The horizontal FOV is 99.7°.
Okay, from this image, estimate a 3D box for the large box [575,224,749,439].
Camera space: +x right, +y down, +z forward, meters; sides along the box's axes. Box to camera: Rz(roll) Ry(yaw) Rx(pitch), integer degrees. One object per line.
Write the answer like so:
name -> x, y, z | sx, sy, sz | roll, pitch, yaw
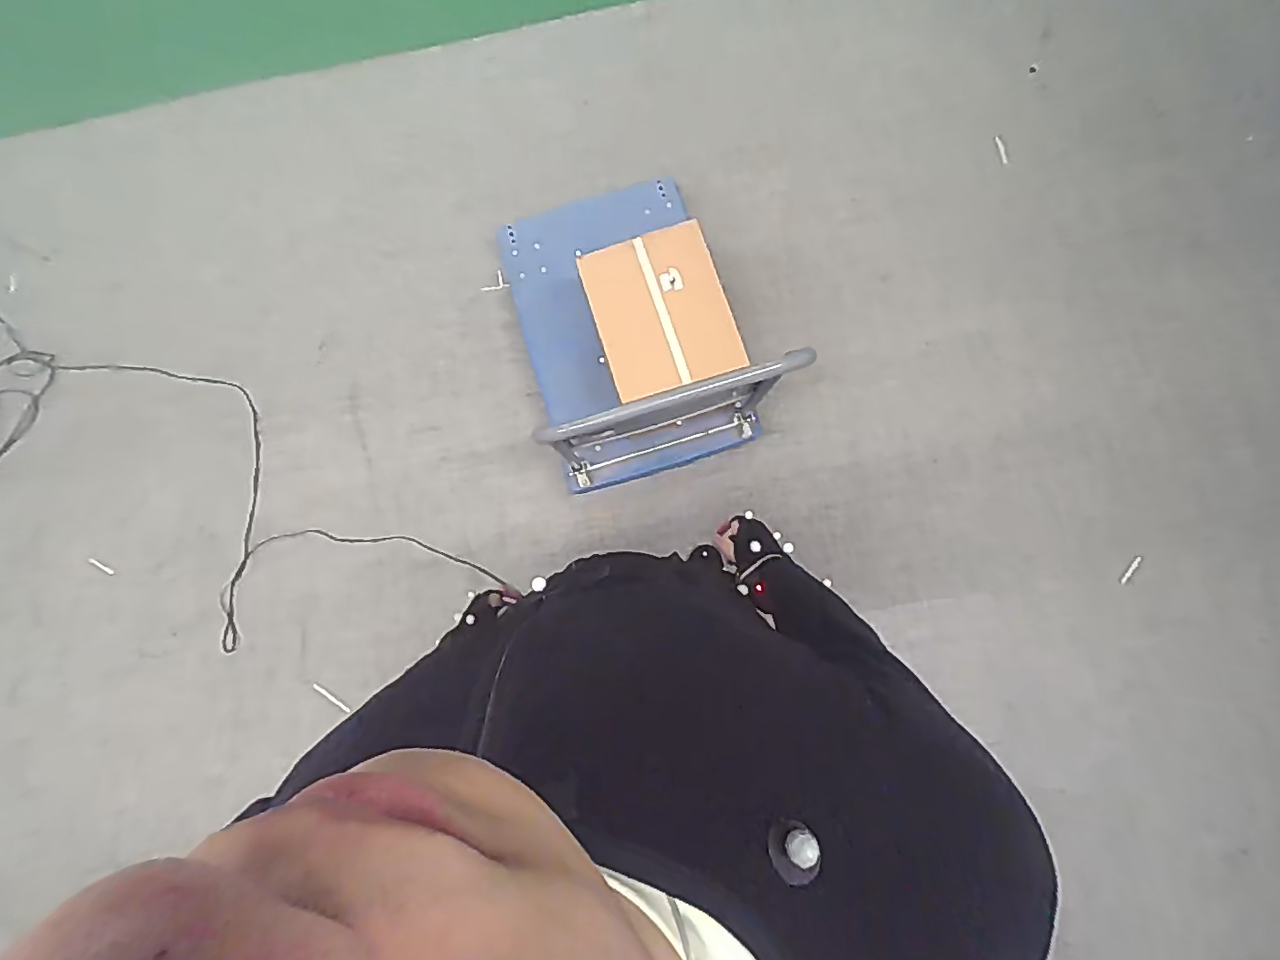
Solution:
large box -> 0.055, -0.367, 1.419 | 0.320, 0.320, 0.408 | -18, 80, -1
